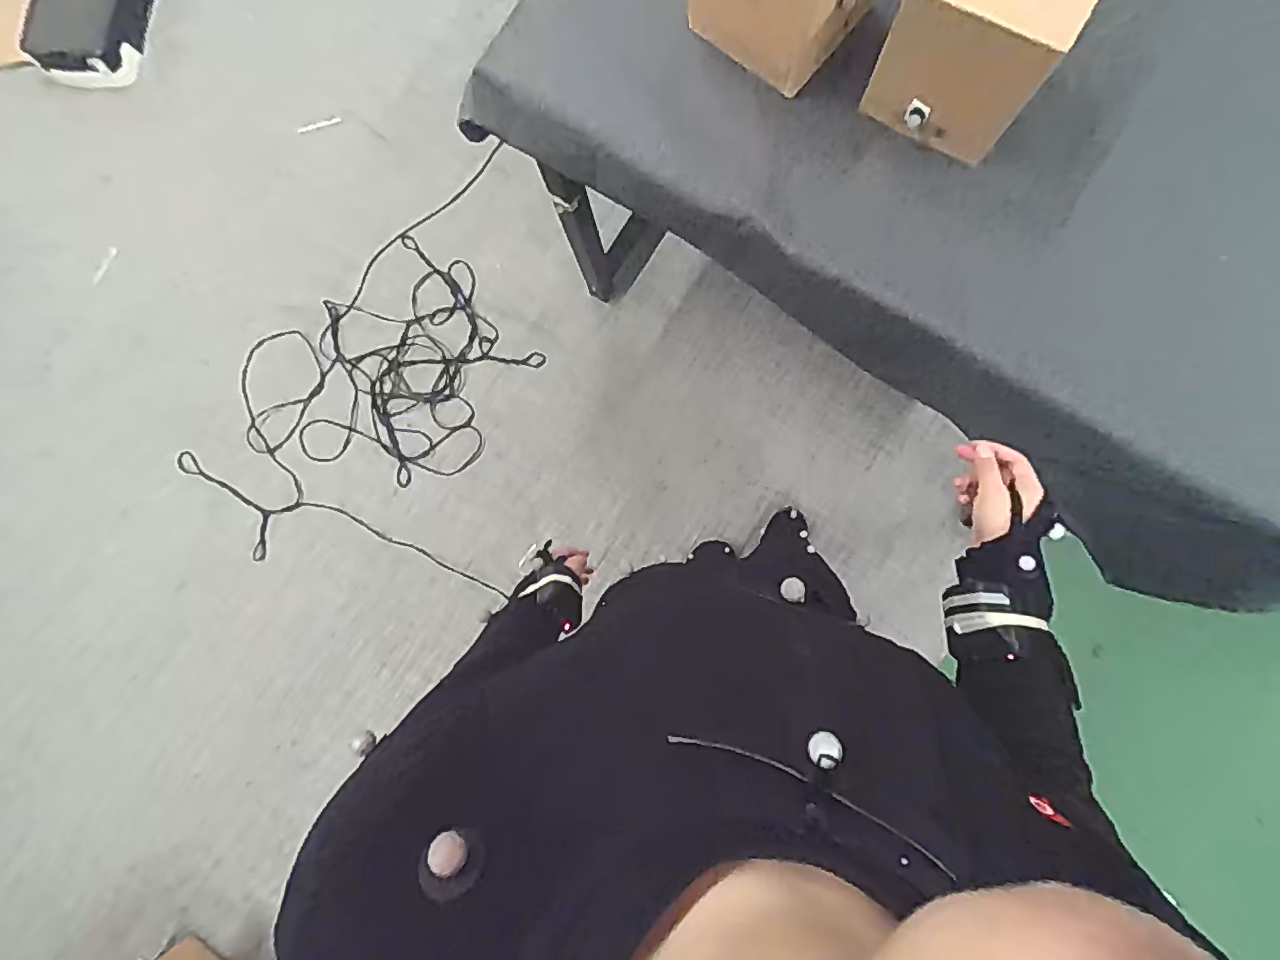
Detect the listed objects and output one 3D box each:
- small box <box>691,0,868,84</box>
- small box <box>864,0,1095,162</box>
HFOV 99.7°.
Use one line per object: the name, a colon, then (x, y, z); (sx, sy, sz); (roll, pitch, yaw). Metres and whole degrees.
small box: (0.175, -0.614, 0.625); (0.179, 0.176, 0.168); (40, 88, 6)
small box: (0.380, -0.509, 0.603); (0.168, 0.176, 0.179); (29, 88, 7)
